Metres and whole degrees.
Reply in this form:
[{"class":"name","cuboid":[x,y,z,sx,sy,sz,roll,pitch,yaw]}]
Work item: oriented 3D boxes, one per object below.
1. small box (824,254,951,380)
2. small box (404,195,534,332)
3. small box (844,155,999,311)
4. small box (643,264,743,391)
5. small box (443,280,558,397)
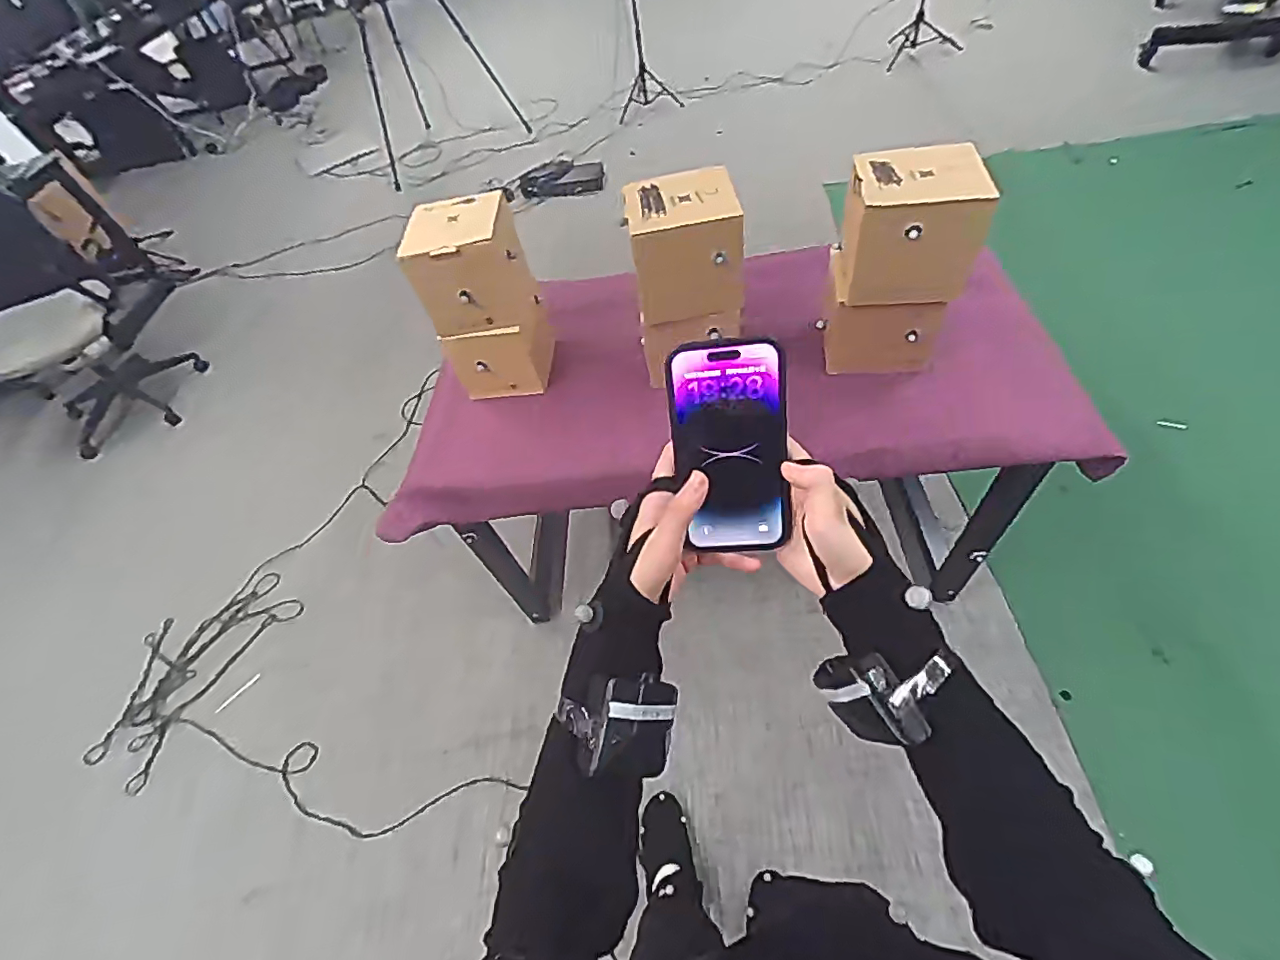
[{"class":"small box","cuboid":[0.442,-0.298,0.995,0.179,0.176,0.168,2,54,13]},{"class":"small box","cuboid":[-0.303,-0.390,0.999,0.168,0.176,0.179,-6,53,5]},{"class":"small box","cuboid":[0.425,-0.383,0.855,0.179,0.176,0.168,2,54,12]},{"class":"small box","cuboid":[0.106,-0.291,1.053,0.179,0.176,0.168,-3,53,9]},{"class":"small box","cuboid":[-0.278,-0.286,1.124,0.168,0.176,0.179,-3,53,9]}]
